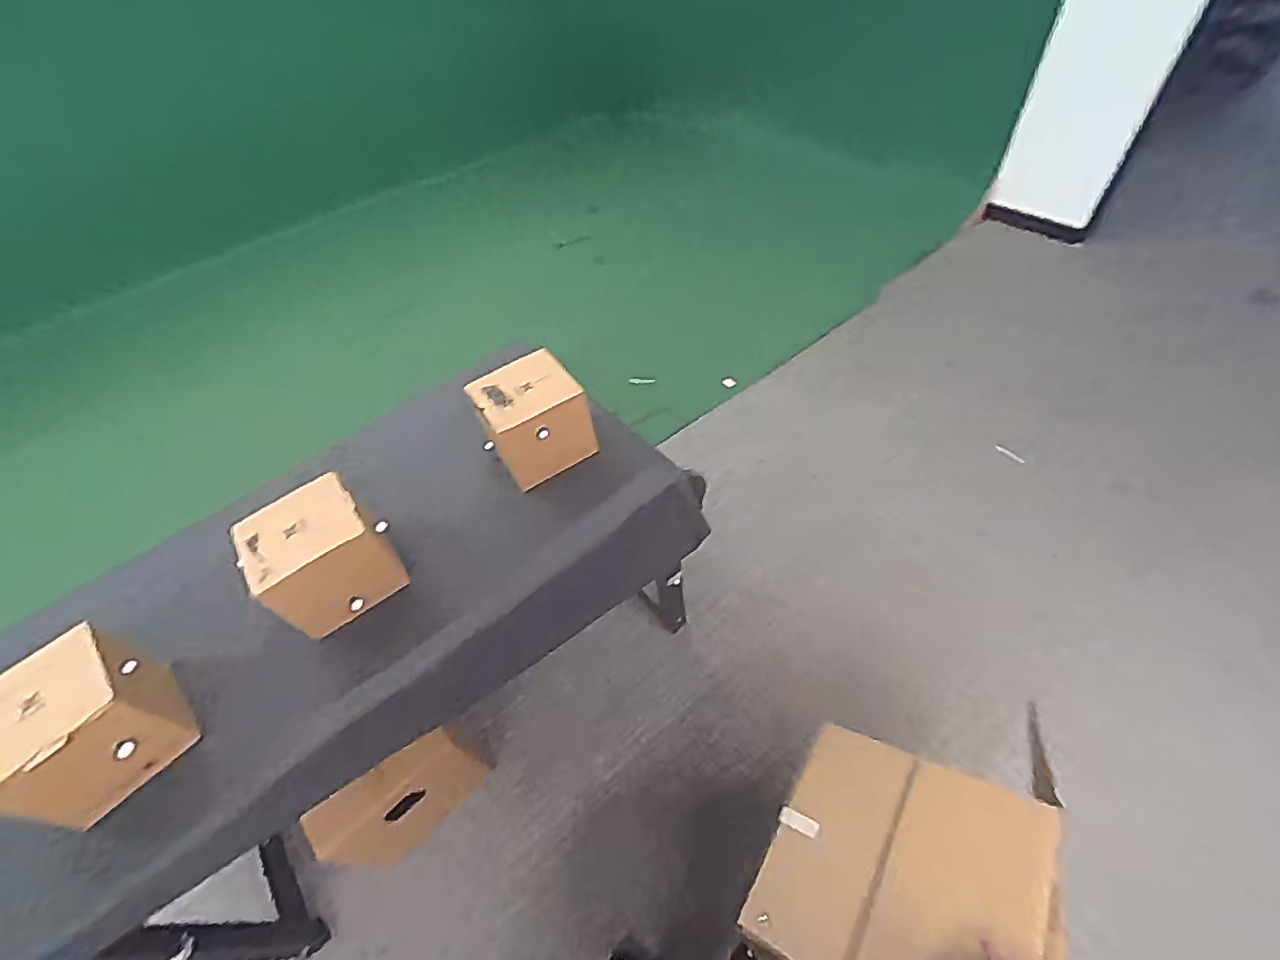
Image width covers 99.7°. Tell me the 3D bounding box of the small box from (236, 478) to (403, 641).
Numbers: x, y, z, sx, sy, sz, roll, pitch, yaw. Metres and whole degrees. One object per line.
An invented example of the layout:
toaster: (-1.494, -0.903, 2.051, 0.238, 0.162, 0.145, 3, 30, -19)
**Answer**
small box: (-0.529, 0.135, 0.918, 0.179, 0.176, 0.168, -33, 54, -19)

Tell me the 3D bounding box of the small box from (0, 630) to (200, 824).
small box: (-0.788, 0.357, 0.776, 0.179, 0.176, 0.168, 31, 59, 31)

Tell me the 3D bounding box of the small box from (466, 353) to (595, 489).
small box: (-0.211, -0.113, 1.070, 0.179, 0.176, 0.168, -30, 54, -16)
